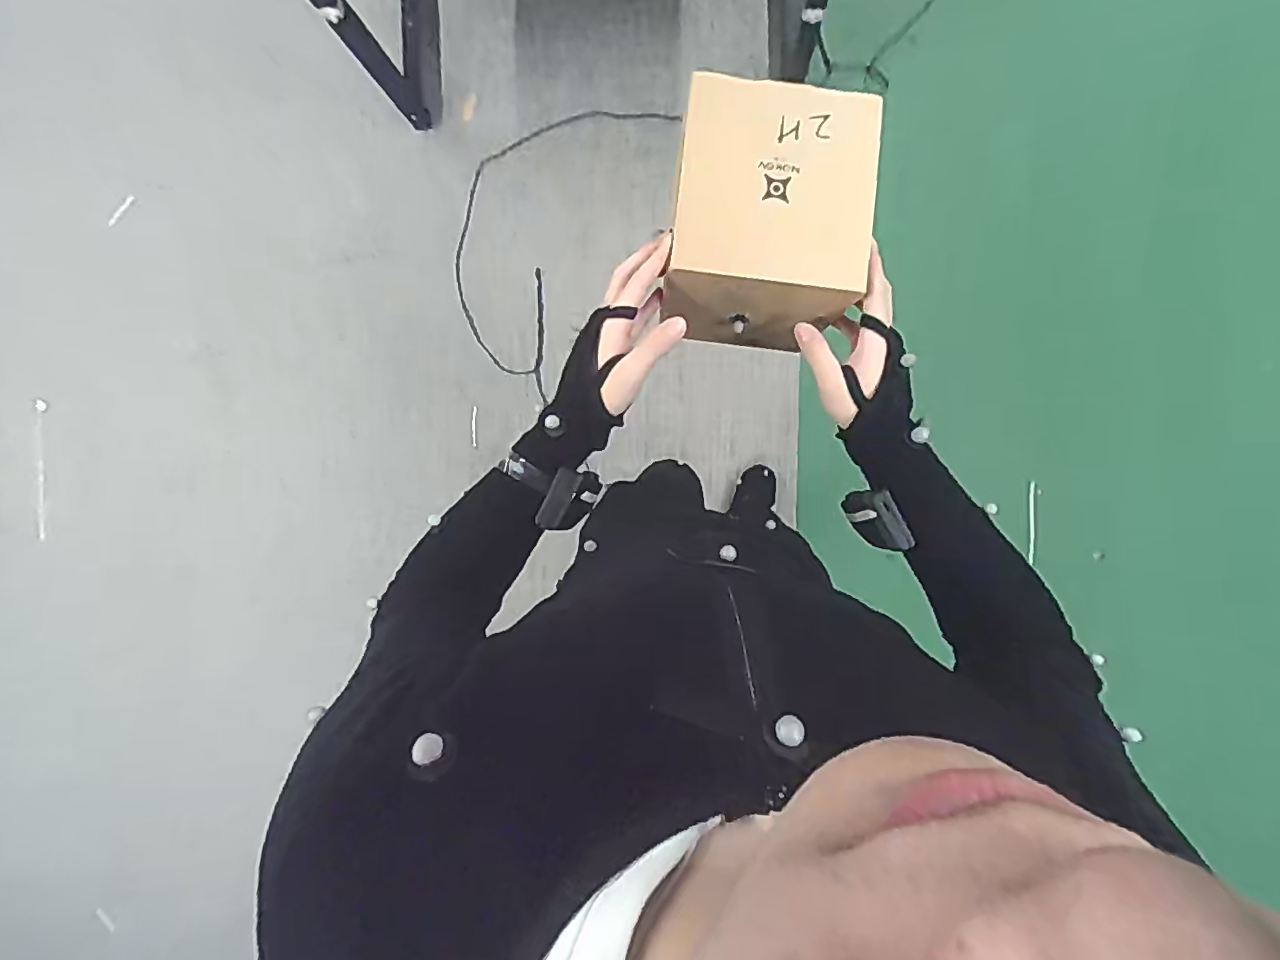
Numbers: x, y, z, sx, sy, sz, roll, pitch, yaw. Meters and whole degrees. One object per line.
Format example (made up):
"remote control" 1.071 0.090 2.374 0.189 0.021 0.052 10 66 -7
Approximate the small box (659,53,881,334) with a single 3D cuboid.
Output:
"small box" 0.110 -0.256 0.526 0.168 0.176 0.179 7 85 -1
